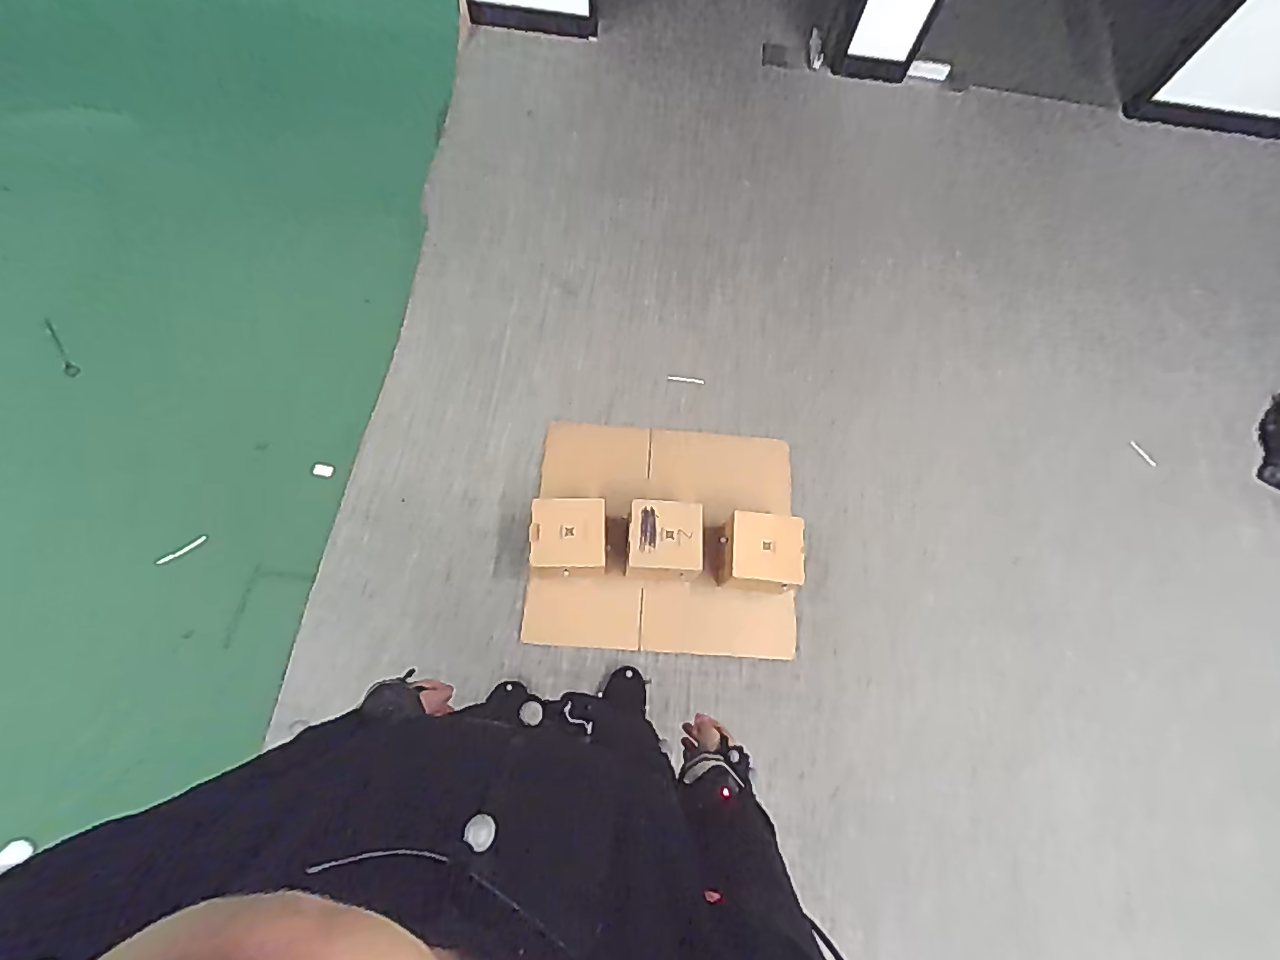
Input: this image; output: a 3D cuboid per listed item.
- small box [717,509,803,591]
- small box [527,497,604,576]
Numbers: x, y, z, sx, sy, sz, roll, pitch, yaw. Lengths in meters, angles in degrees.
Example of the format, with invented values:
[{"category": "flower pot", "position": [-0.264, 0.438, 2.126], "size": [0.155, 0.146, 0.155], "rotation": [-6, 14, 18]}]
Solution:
[{"category": "small box", "position": [0.296, 0.181, 1.357], "size": [0.179, 0.176, 0.168], "rotation": [6, 70, -3]}, {"category": "small box", "position": [-0.178, 0.143, 1.335], "size": [0.179, 0.176, 0.168], "rotation": [0, 72, -5]}]
